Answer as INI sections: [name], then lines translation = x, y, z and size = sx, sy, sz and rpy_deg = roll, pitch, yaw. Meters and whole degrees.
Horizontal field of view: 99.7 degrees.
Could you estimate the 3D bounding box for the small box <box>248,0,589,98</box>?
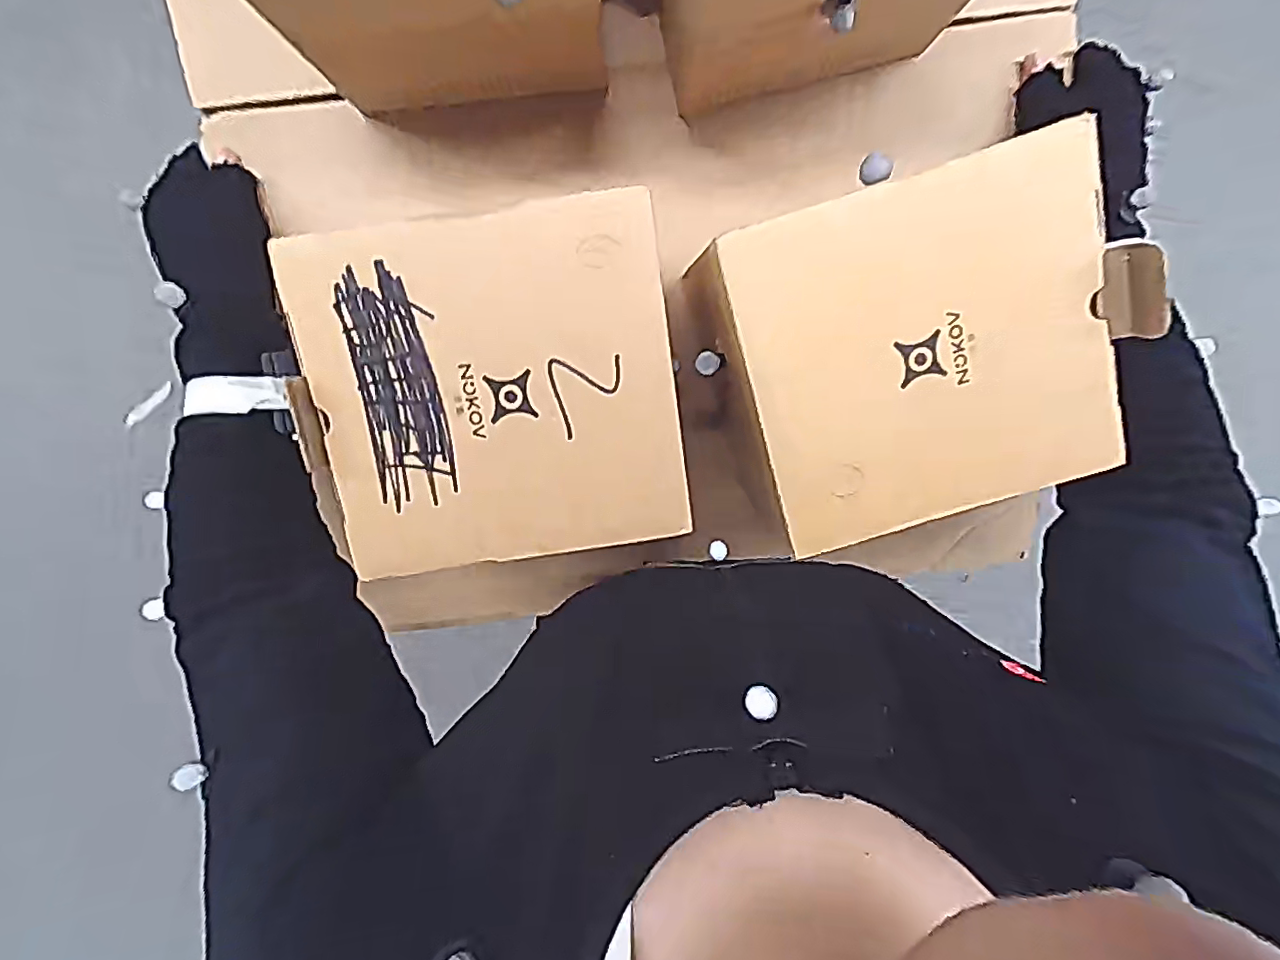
[small box]
translation = -0.121, -0.333, 0.281
size = 0.179, 0.176, 0.168
rpy_deg = -6, 101, 0
